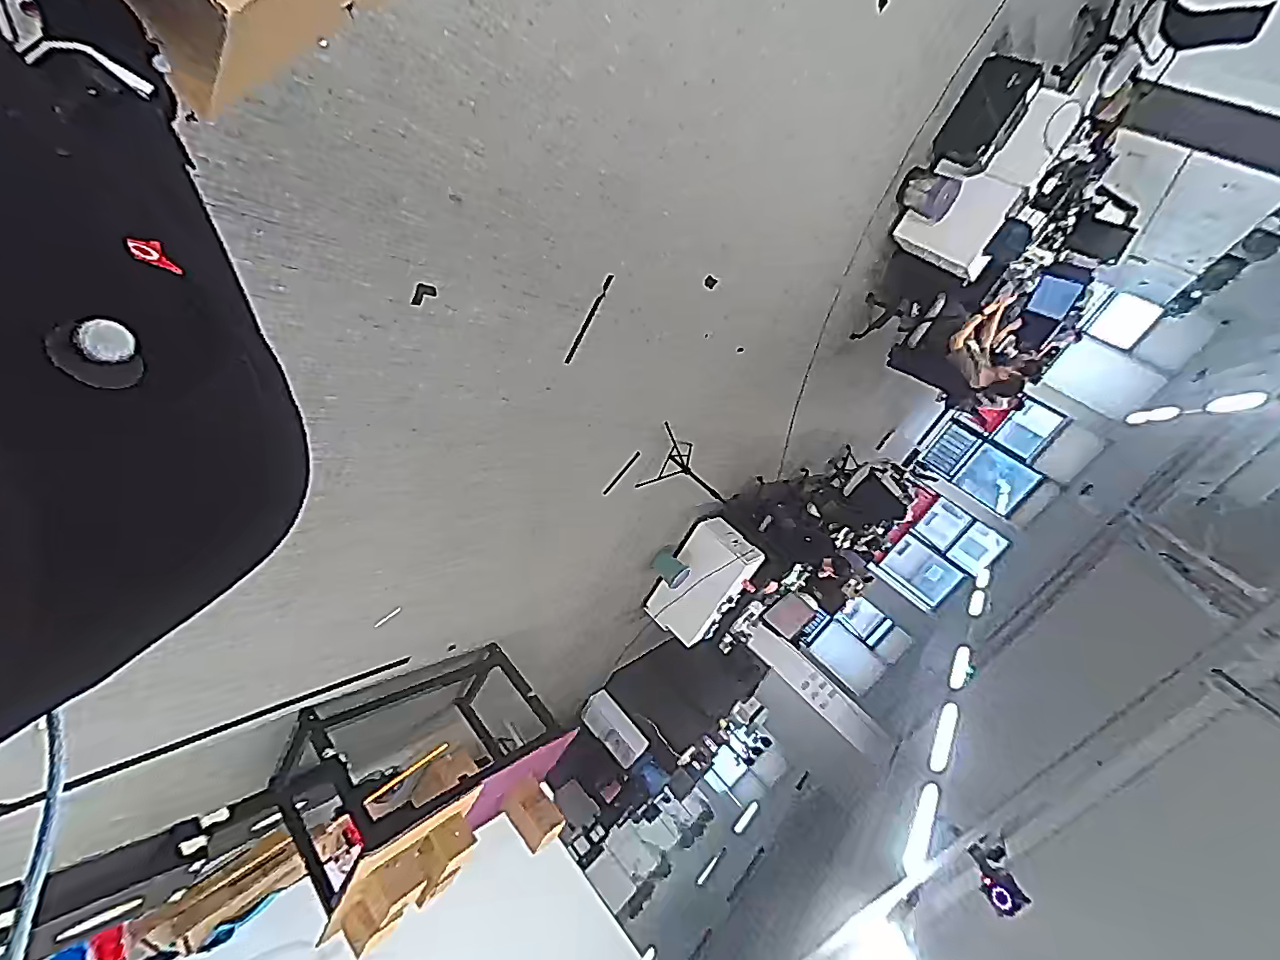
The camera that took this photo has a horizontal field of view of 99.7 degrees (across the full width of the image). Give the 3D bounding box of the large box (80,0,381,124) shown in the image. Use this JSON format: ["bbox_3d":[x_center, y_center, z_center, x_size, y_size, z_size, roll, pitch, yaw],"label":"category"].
[{"bbox_3d":[-0.394,-0.588,0.462,0.320,0.408,0.320,-48,130,-15],"label":"large box"}]
